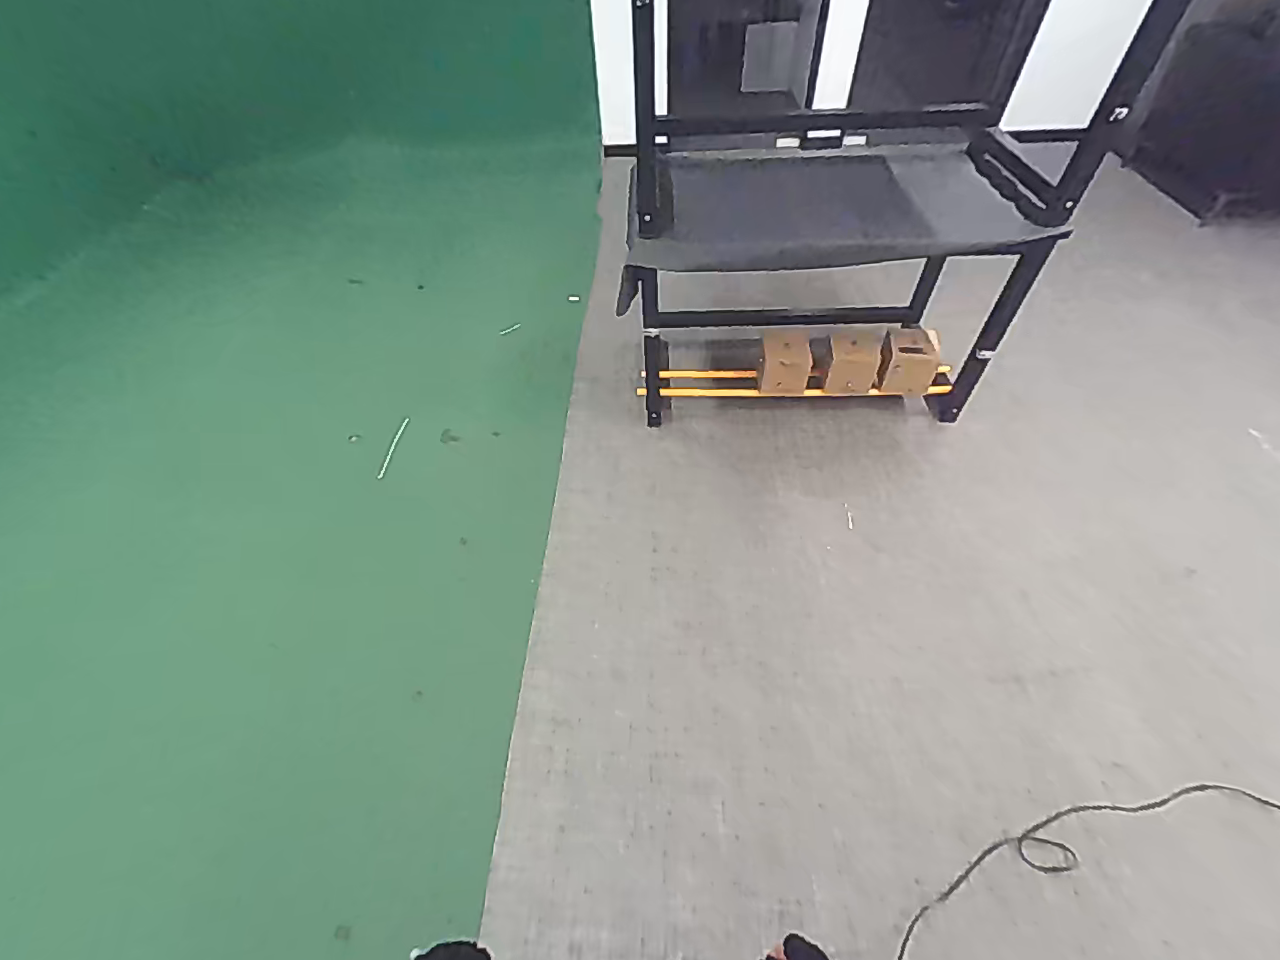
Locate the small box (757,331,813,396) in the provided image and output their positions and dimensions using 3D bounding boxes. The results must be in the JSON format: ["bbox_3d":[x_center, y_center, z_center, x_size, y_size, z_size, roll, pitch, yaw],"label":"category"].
[{"bbox_3d":[0.536,-0.436,2.018,0.168,0.176,0.179,1,52,3],"label":"small box"}]
